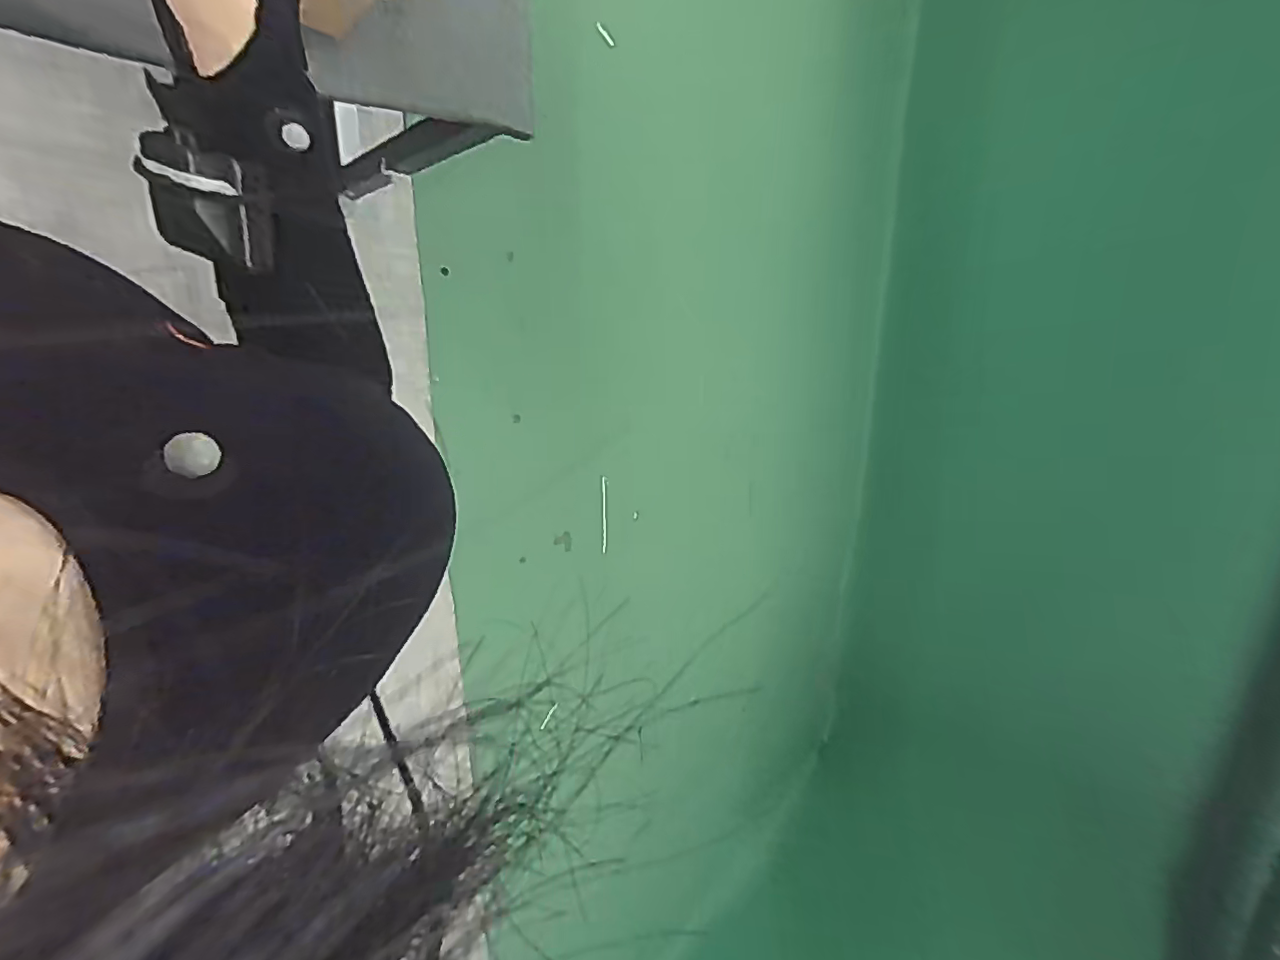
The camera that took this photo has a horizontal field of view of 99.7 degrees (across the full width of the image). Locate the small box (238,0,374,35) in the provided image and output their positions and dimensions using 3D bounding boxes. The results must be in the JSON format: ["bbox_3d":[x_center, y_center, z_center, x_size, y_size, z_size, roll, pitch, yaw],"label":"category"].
[{"bbox_3d":[-0.350,-0.575,0.504,0.168,0.176,0.179,-12,109,-43],"label":"small box"}]
